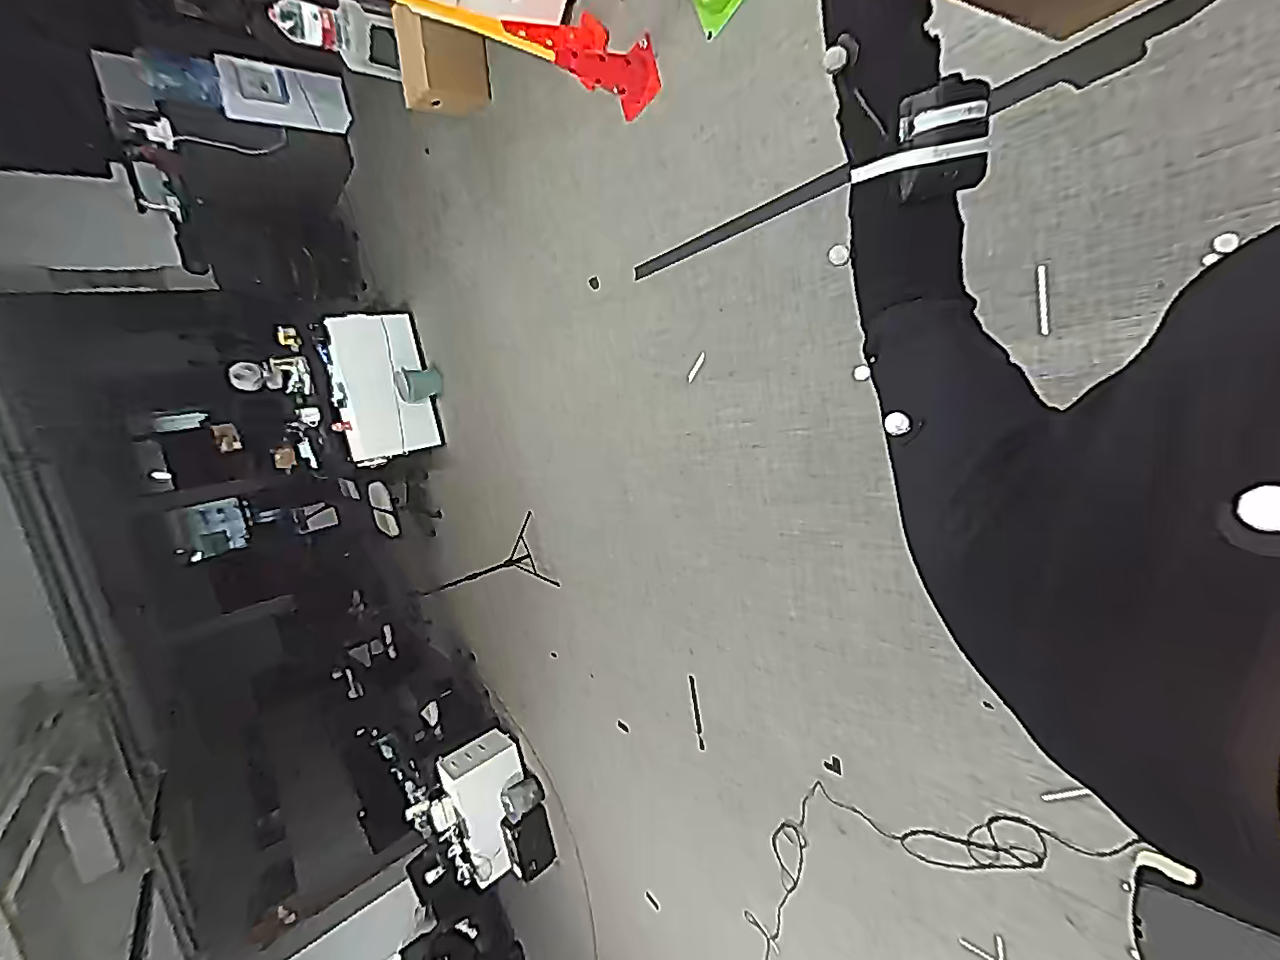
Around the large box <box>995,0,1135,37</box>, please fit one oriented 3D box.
[{"bbox_3d":[0.351,-0.489,0.216,0.408,0.320,0.320,-5,110,49],"label":"large box"}]
